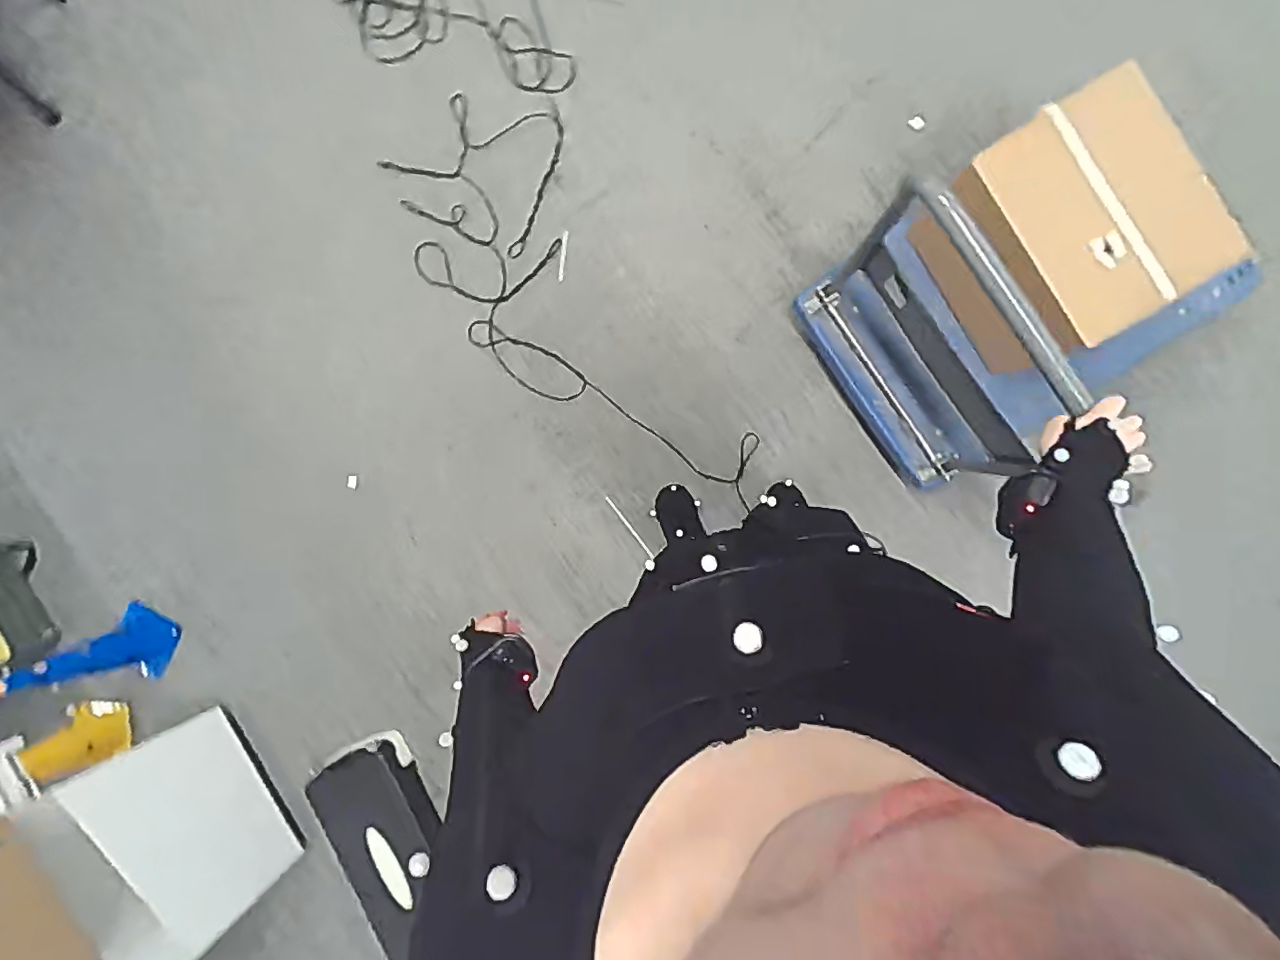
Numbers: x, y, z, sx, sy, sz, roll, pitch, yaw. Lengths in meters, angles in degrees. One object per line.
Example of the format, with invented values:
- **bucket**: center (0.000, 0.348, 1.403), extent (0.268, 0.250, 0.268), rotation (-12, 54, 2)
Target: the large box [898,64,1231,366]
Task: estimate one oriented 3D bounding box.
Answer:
- **large box**: center (0.828, -0.507, 1.122), extent (0.320, 0.320, 0.408), rotation (-32, 89, 6)
